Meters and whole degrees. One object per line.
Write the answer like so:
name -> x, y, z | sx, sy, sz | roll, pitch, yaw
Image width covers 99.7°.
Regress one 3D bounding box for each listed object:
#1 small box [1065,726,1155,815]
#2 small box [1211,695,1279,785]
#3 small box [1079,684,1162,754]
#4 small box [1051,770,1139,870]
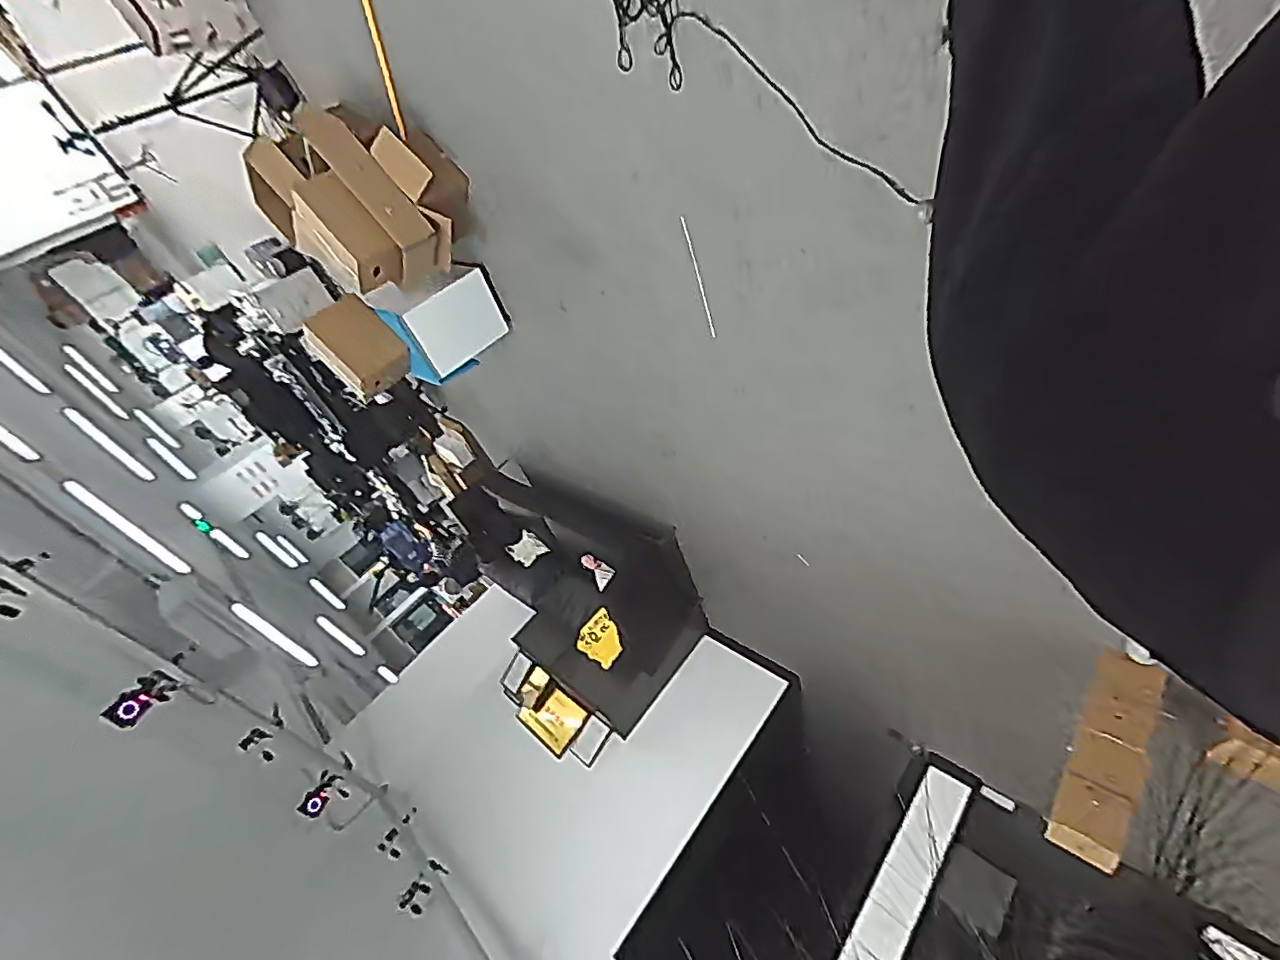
small box -> 1.492, 0.925, 1.717 | 0.179, 0.176, 0.168 | 20, 146, 43
small box -> 1.912, 0.783, 1.646 | 0.179, 0.176, 0.168 | 27, 150, 31
small box -> 1.589, 0.811, 1.787 | 0.168, 0.176, 0.179 | 19, 145, 43
small box -> 1.386, 1.031, 1.649 | 0.168, 0.176, 0.179 | 18, 145, 43
